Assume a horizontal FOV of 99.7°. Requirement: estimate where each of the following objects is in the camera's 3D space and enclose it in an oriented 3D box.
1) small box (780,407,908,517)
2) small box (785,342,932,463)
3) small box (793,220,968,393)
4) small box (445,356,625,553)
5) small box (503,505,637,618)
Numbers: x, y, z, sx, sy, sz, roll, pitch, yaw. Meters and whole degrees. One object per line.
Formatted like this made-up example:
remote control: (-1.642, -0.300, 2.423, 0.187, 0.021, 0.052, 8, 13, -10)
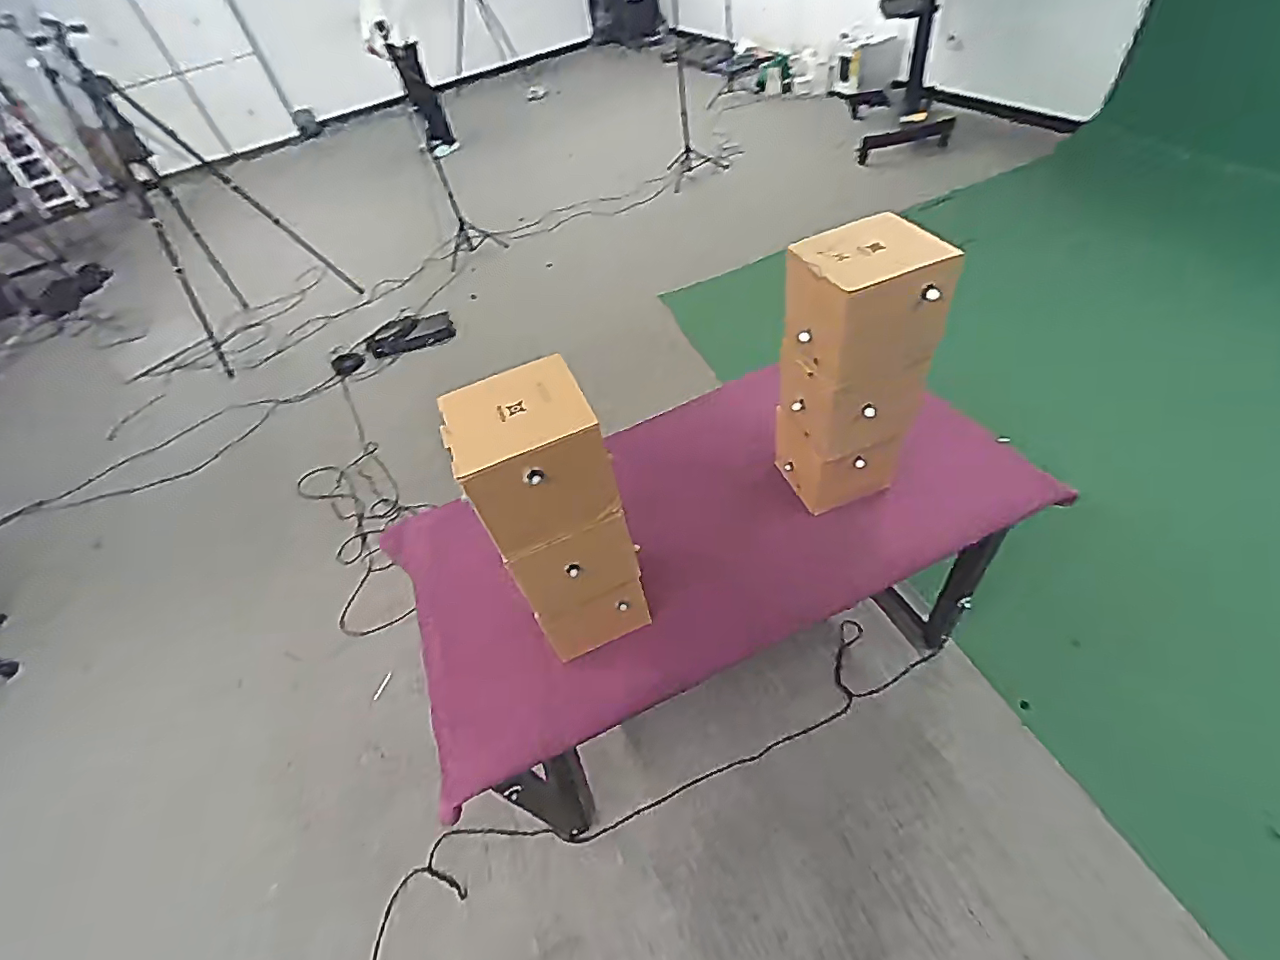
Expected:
small box: (0.393, -0.056, 1.081, 0.179, 0.176, 0.168, -20, 48, -5)
small box: (0.371, -0.156, 0.953, 0.179, 0.176, 0.168, -20, 48, -4)
small box: (0.351, -0.263, 0.829, 0.179, 0.176, 0.168, -20, 47, -4)
small box: (-0.135, -0.030, 0.721, 0.179, 0.176, 0.168, -21, 49, -9)
small box: (-0.114, 0.081, 0.838, 0.179, 0.176, 0.168, -23, 48, -9)
